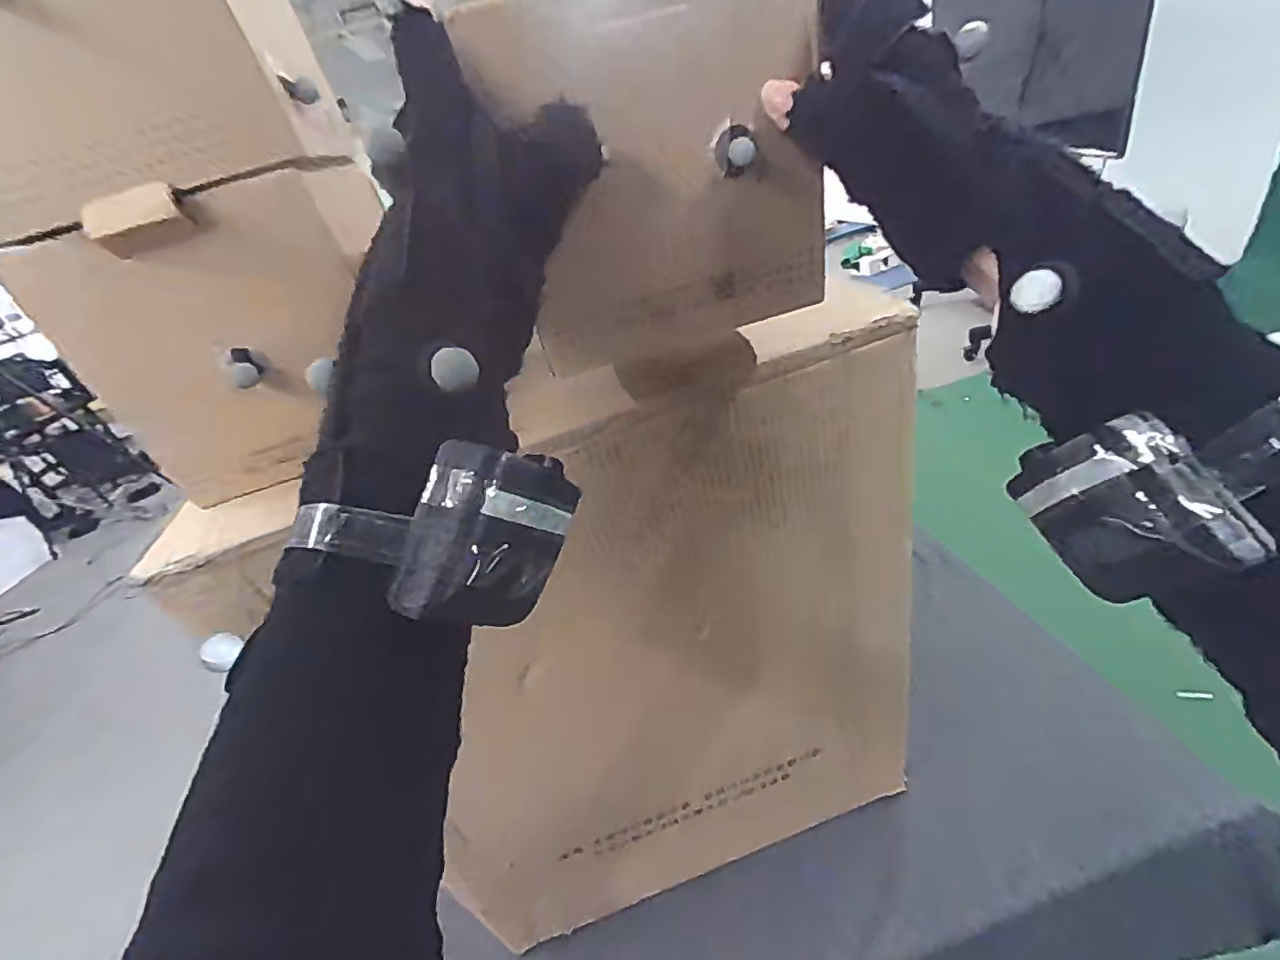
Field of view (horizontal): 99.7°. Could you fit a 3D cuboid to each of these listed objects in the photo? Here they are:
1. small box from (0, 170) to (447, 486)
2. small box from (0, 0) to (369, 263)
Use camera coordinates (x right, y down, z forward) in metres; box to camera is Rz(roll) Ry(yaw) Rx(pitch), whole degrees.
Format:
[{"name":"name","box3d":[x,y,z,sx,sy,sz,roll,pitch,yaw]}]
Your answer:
[{"name":"small box","box3d":[-0.254,-0.113,0.393,0.168,0.176,0.179,-19,34,-5]},{"name":"small box","box3d":[-0.285,-0.230,0.307,0.179,0.176,0.168,-20,33,-5]}]
